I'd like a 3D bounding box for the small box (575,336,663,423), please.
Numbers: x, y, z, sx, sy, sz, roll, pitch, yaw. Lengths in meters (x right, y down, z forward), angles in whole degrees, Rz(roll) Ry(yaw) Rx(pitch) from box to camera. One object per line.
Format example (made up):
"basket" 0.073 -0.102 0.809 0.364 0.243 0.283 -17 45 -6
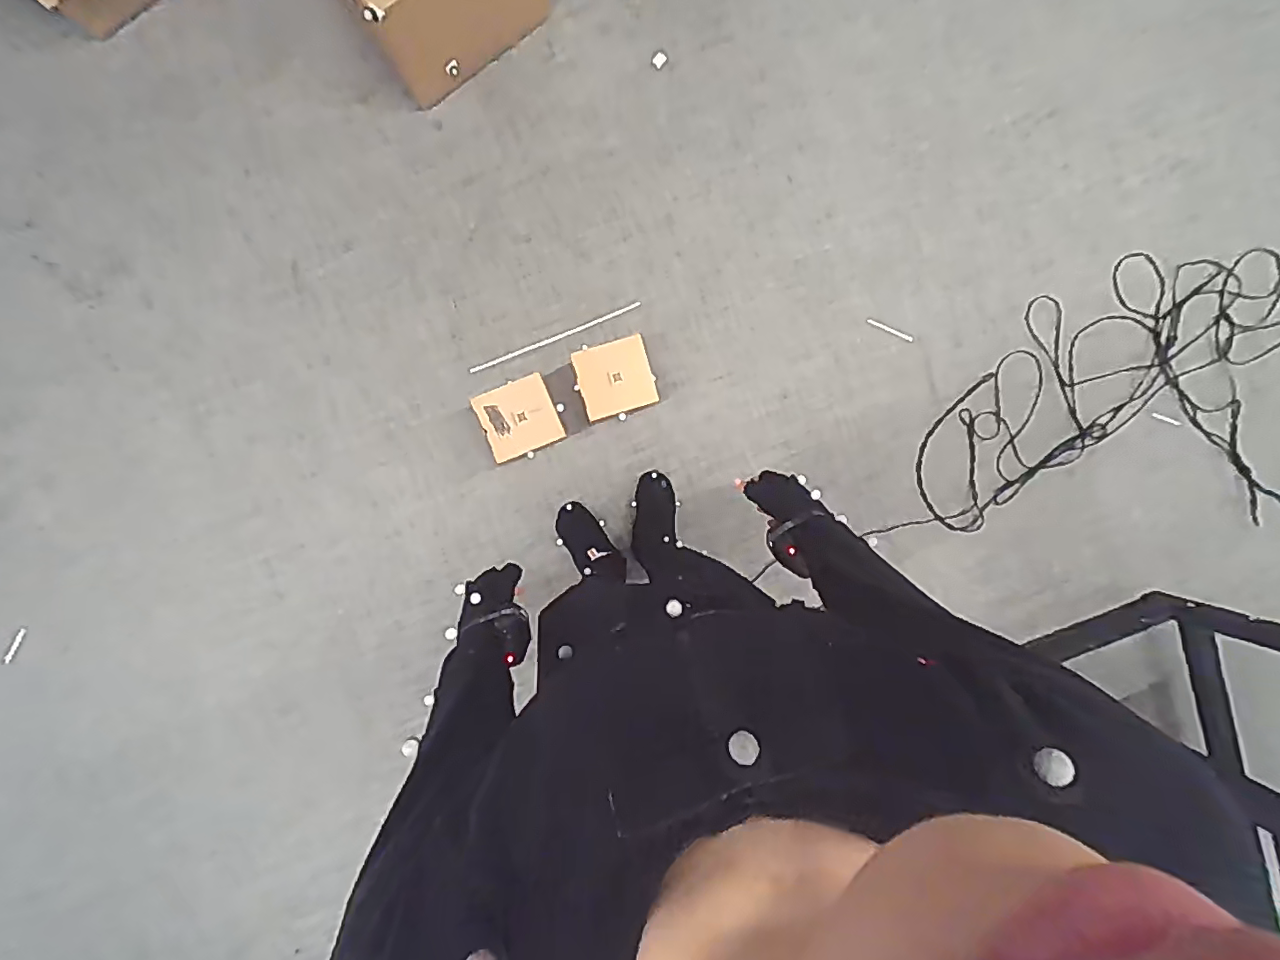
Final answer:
"small box" -0.055 -0.245 1.348 0.179 0.176 0.168 -17 95 -2

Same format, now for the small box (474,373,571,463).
"small box" -0.282 -0.148 1.336 0.179 0.176 0.168 -23 95 -3
